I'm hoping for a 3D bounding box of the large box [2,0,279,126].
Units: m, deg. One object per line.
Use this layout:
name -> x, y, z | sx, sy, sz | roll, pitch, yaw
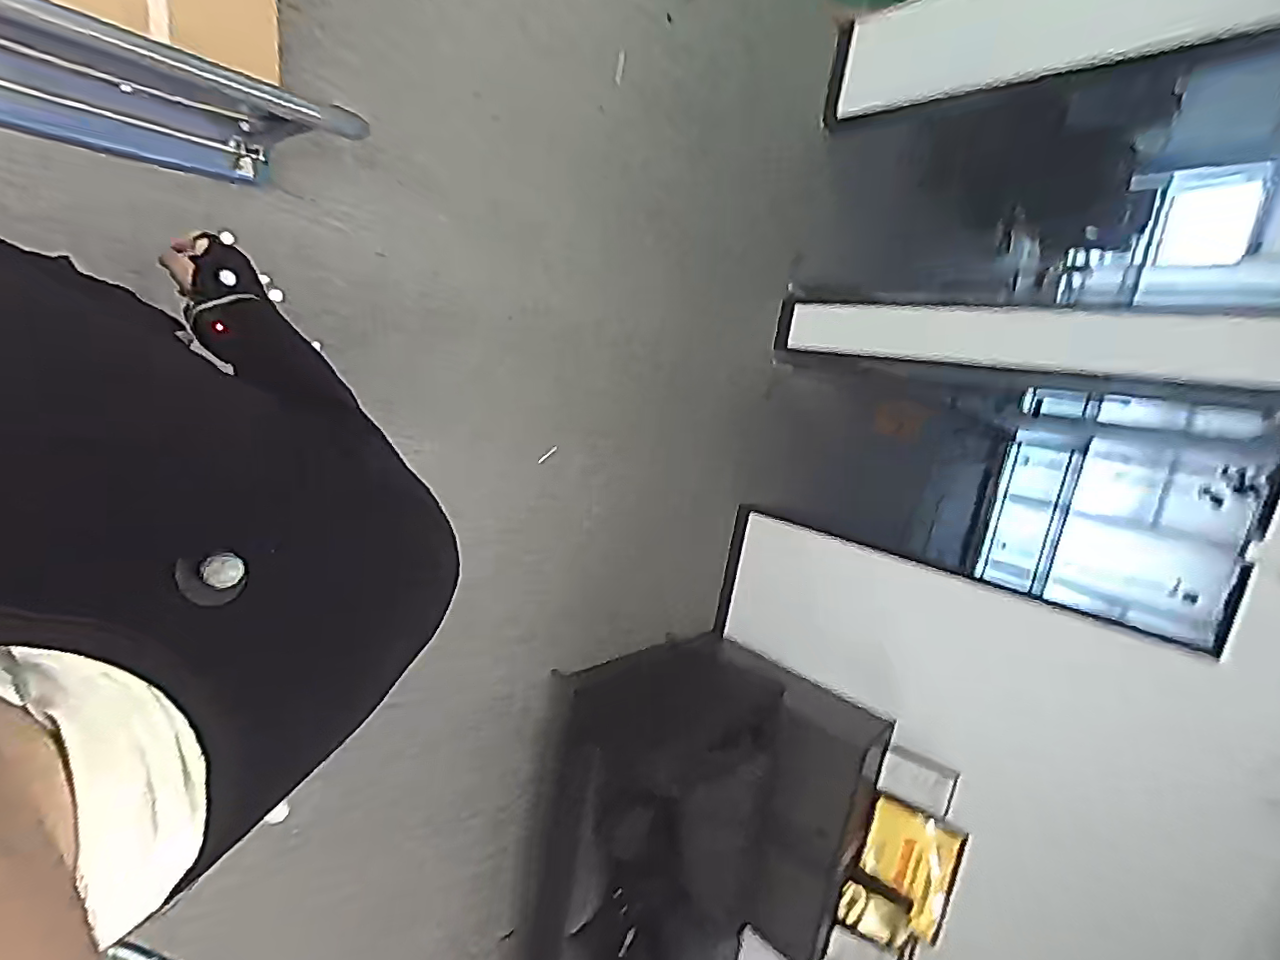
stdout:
large box -> -0.805, -0.857, 0.852 | 0.320, 0.320, 0.408 | -9, 110, -47
